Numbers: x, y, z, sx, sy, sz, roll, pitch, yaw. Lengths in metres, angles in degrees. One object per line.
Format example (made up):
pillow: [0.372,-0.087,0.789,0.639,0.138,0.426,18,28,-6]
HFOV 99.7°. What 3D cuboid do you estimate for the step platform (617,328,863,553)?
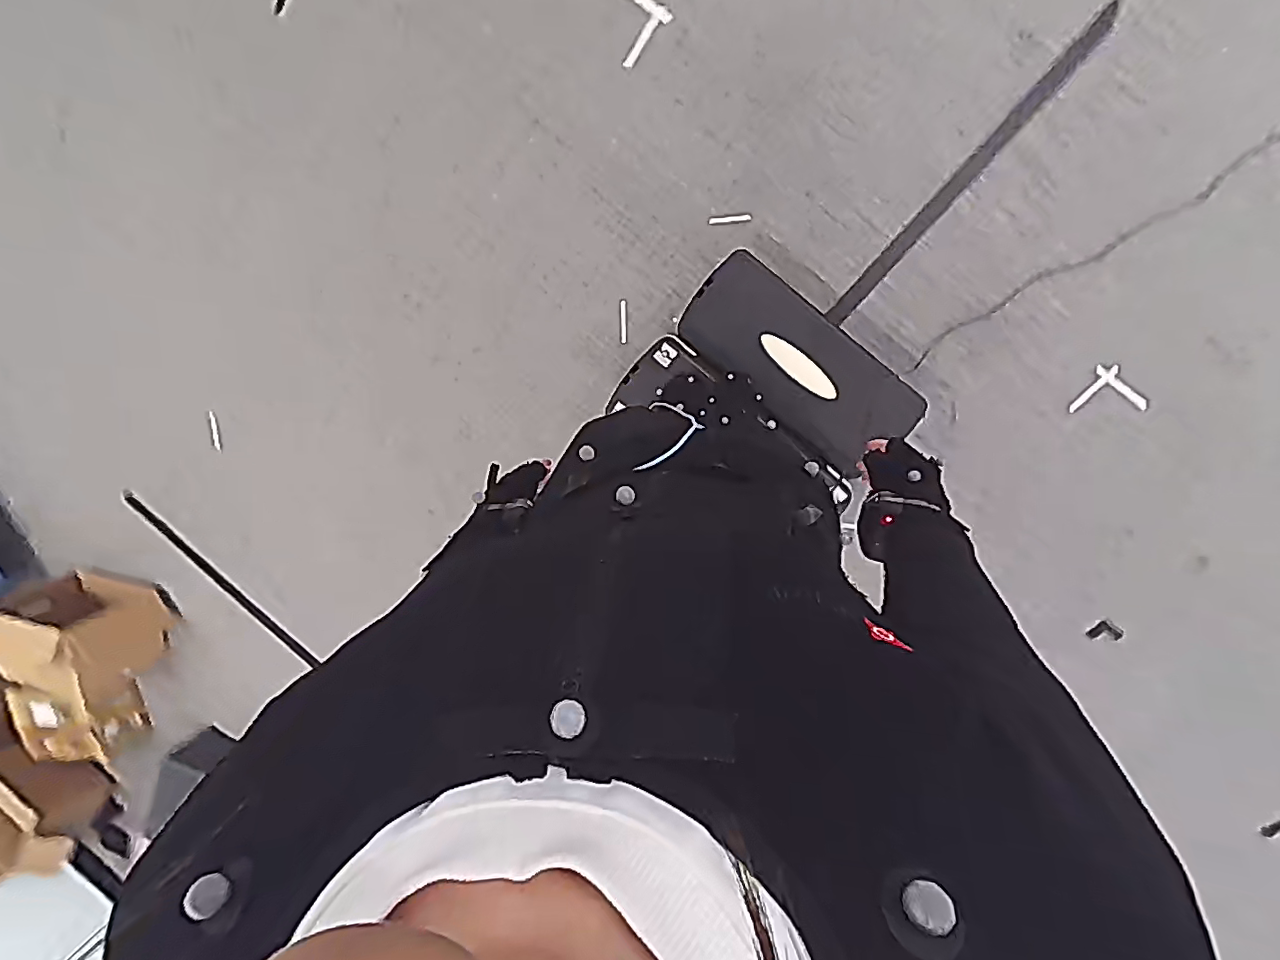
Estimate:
step platform: [0.268,-0.111,1.492,0.684,0.204,0.286,40,107,3]
